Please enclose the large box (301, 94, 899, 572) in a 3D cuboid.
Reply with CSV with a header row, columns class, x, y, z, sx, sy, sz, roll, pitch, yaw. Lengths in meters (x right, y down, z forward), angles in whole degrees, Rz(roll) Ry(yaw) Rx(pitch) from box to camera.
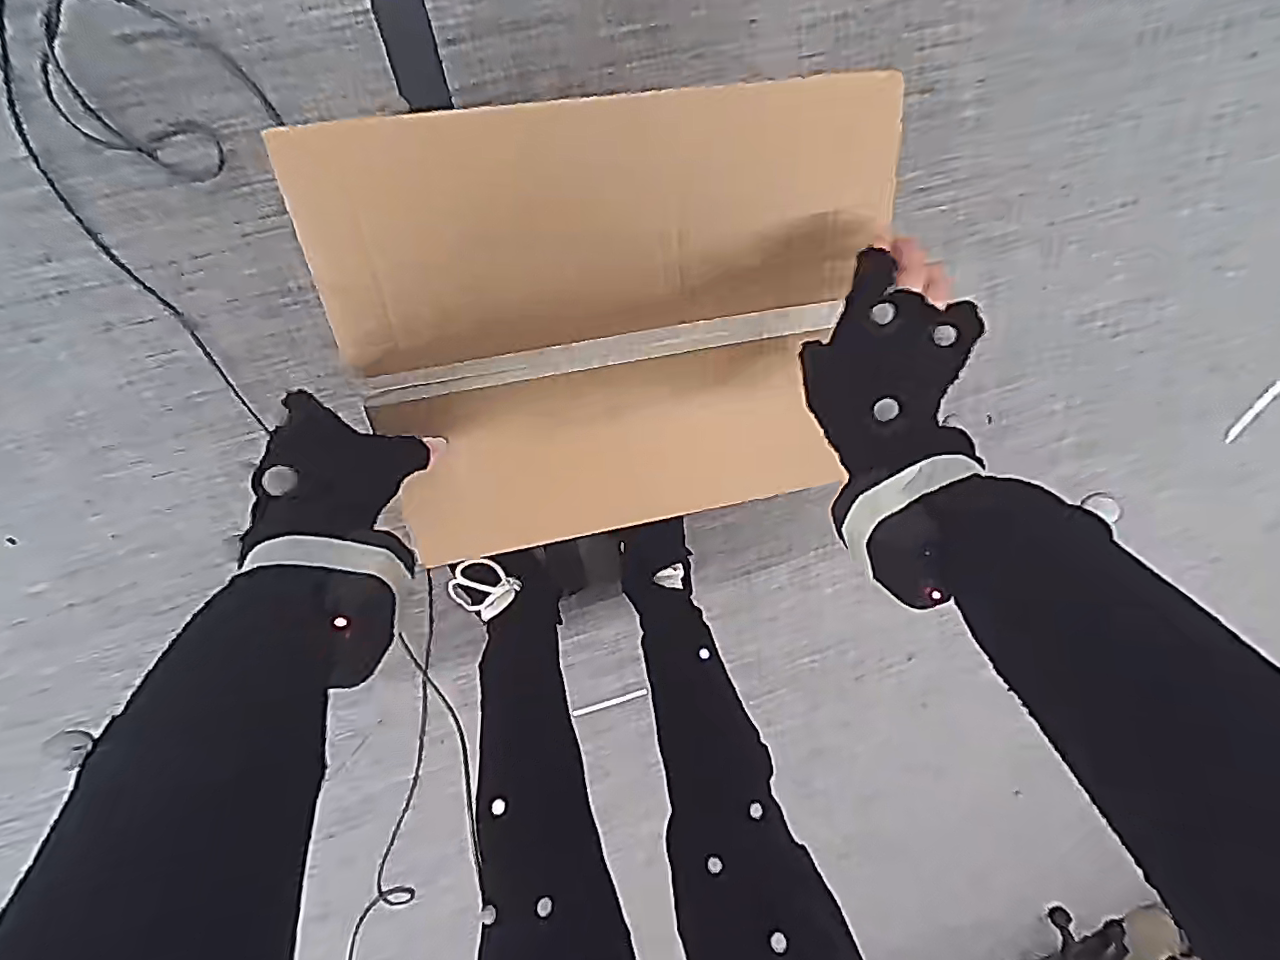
class,x,y,z,sx,sy,sz,roll,pitch,yaw
large box,-0.028,-0.158,0.546,0.408,0.320,0.320,-11,119,-8
